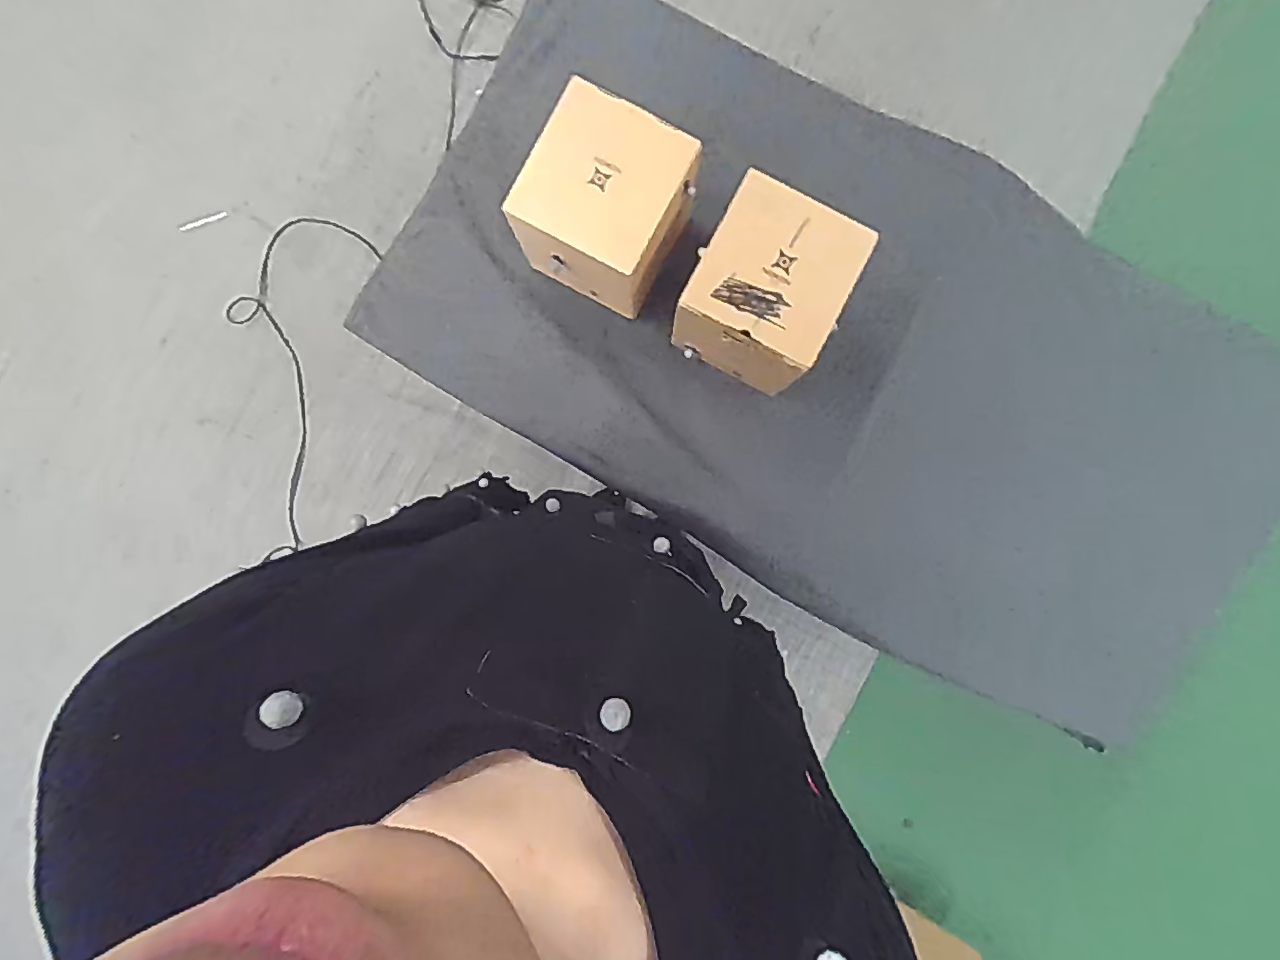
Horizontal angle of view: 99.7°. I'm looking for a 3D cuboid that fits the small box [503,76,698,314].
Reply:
[{"bbox_3d":[-0.043,-0.339,0.682,0.168,0.176,0.179,28,89,0],"label":"small box"}]
